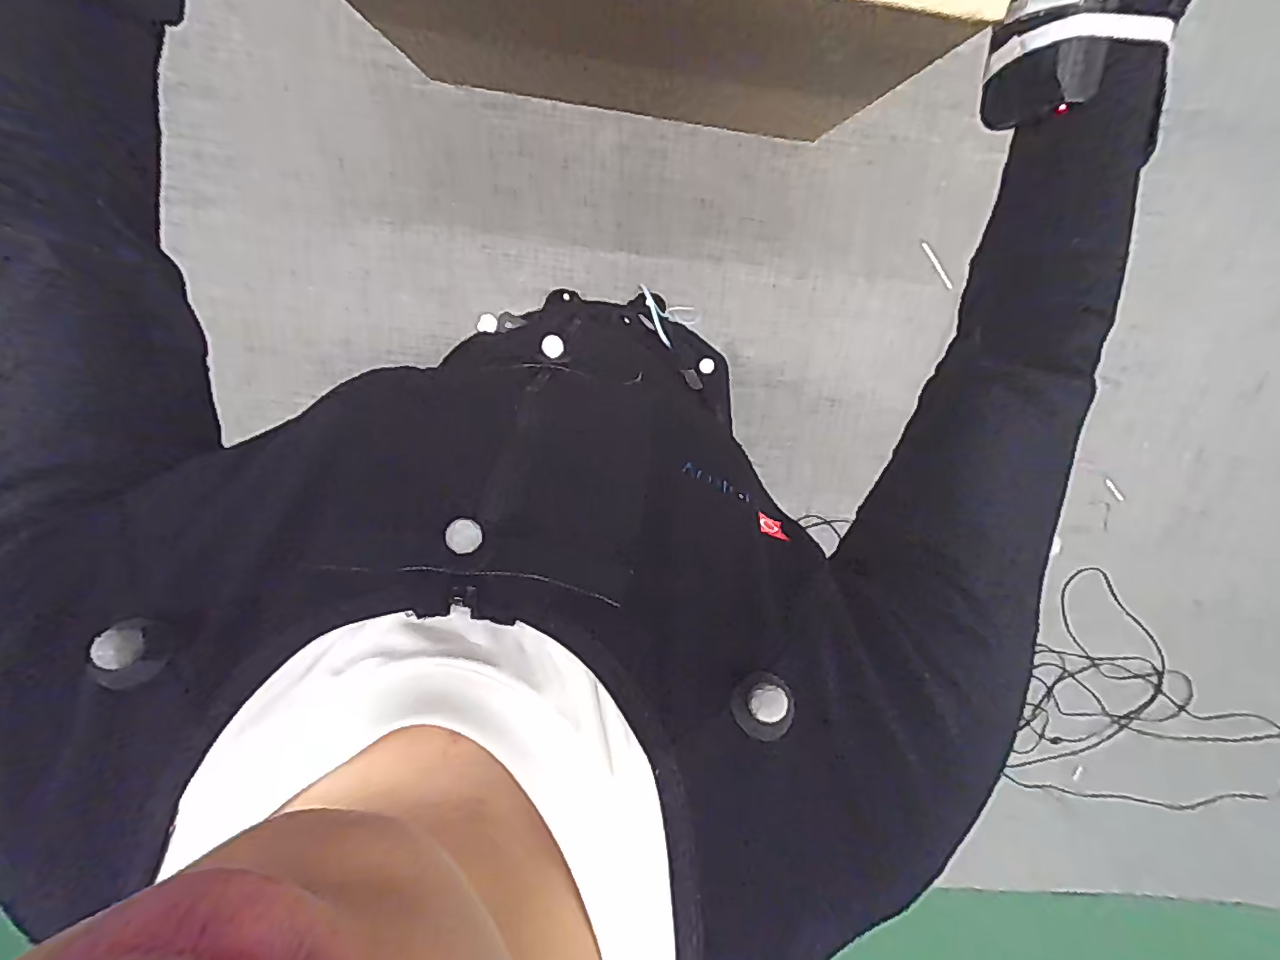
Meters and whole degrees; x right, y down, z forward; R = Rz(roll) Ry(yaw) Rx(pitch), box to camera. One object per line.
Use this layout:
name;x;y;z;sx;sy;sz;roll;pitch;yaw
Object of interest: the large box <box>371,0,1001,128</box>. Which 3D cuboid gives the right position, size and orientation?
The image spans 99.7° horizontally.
large box;0.015;-0.472;0.364;0.408;0.320;0.320;6;112;-5
